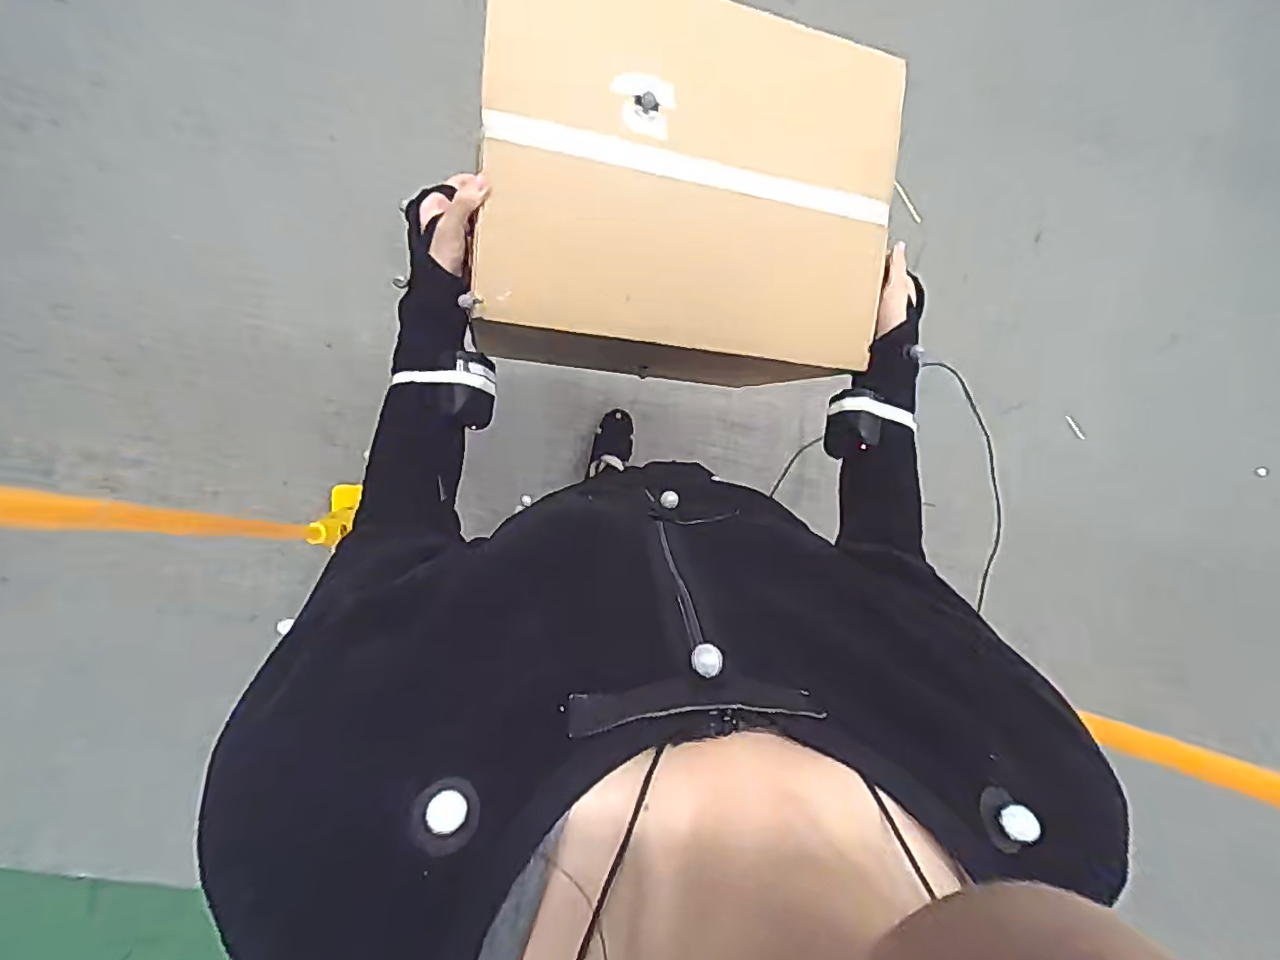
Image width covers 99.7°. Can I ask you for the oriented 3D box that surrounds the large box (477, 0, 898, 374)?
[{"bbox_3d":[0.024,-0.307,0.657,0.408,0.320,0.320,4,96,-15],"label":"large box"}]
